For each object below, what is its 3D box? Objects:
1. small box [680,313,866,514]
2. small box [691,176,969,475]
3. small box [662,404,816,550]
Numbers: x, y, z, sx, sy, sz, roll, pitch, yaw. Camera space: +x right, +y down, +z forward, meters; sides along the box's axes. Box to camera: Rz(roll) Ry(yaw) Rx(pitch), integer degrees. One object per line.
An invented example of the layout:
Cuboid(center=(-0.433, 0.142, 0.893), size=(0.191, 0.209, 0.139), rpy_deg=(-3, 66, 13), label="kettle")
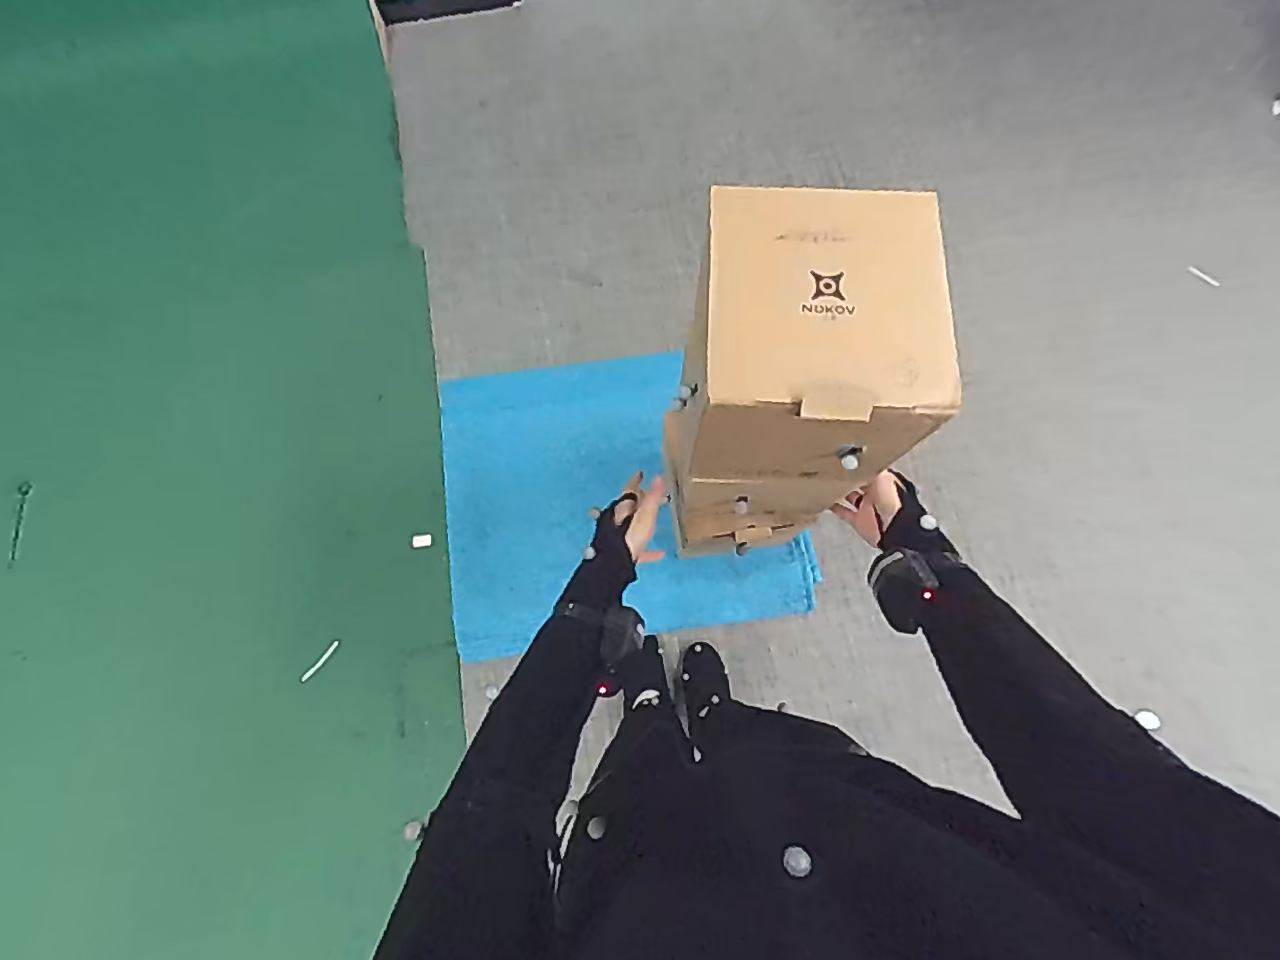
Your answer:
Cuboid(center=(0.132, -0.063, 0.597), size=(0.168, 0.176, 0.179), rpy_deg=(1, 73, 1), label="small box")
Cuboid(center=(0.132, -0.110, 0.441), size=(0.168, 0.176, 0.179), rpy_deg=(3, 73, 1), label="small box")
Cuboid(center=(0.124, -0.003, 0.749), size=(0.168, 0.176, 0.179), rpy_deg=(-8, 75, -2), label="small box")
